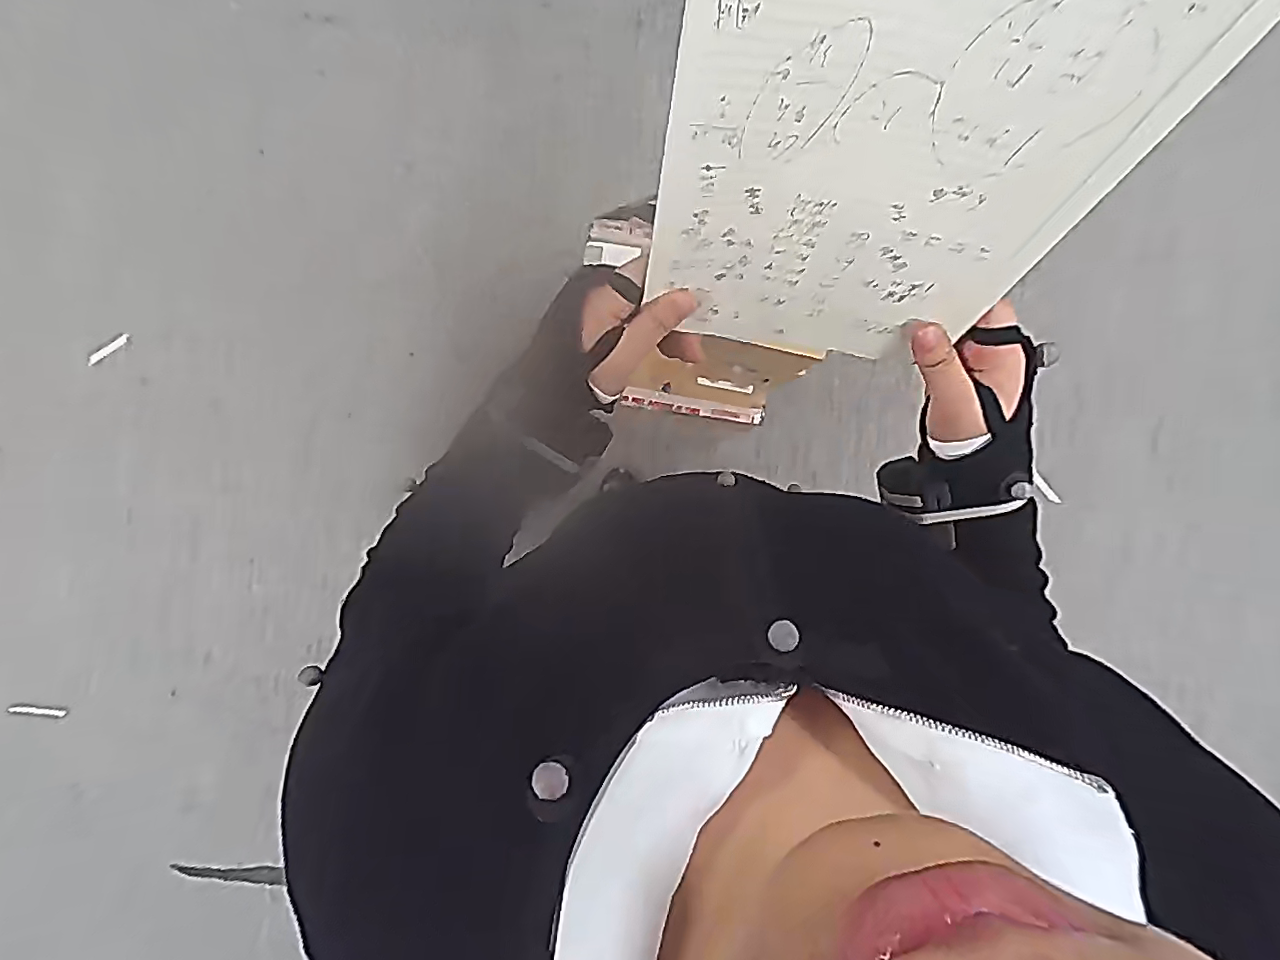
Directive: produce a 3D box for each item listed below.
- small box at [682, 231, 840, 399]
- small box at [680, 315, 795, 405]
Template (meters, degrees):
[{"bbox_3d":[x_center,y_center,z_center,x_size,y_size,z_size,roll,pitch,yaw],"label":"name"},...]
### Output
[{"bbox_3d":[0.164,-0.227,0.791,0.168,0.176,0.179,12,92,-3],"label":"small box"},{"bbox_3d":[0.176,-0.231,0.956,0.179,0.176,0.168,8,91,-2],"label":"small box"}]
